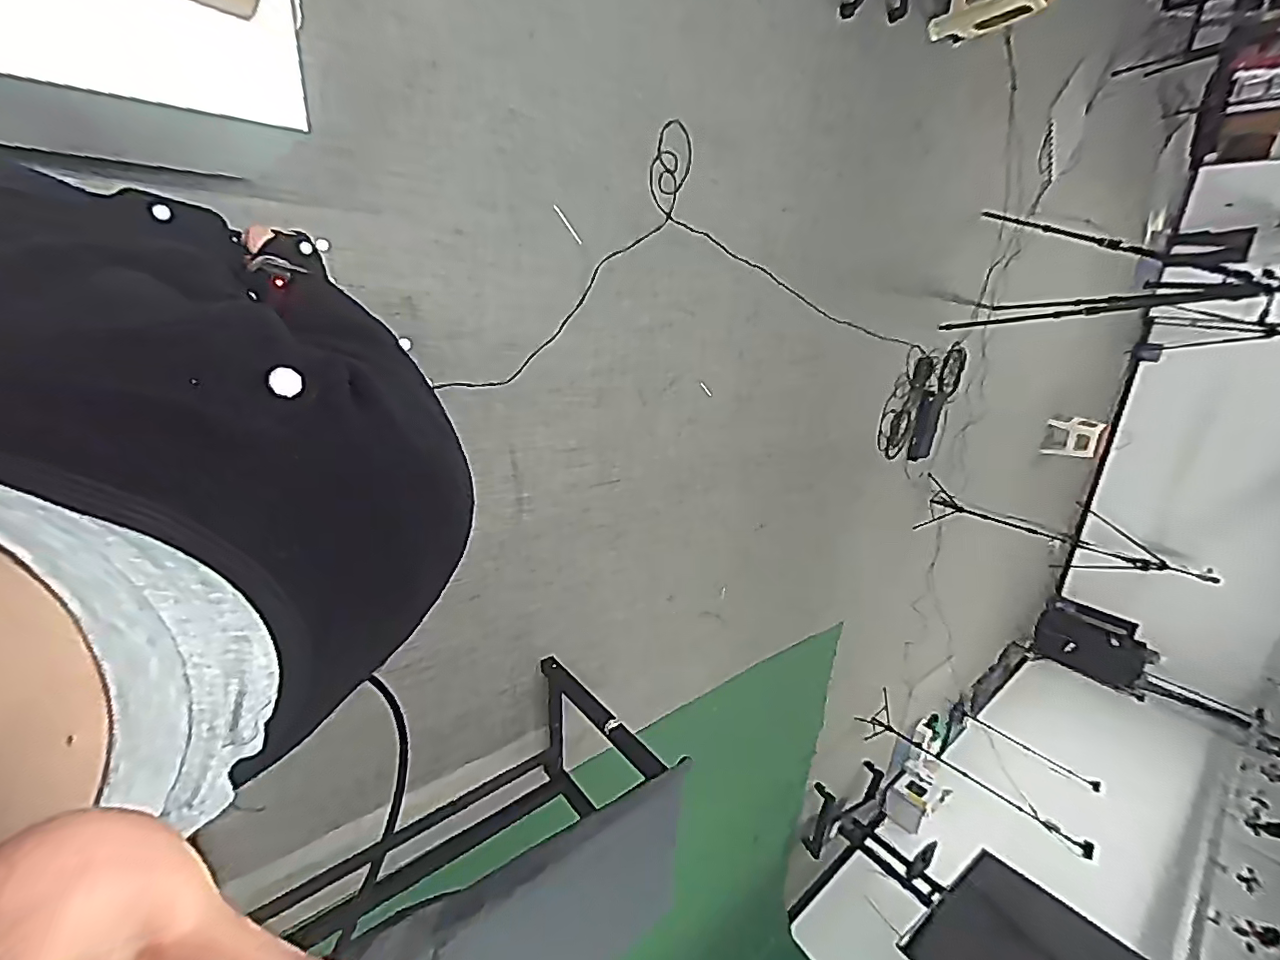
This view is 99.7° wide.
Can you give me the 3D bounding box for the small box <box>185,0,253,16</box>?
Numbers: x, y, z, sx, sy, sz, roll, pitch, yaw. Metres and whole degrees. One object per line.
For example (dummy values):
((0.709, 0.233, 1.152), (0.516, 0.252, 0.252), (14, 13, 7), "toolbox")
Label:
((-0.505, -0.627, 0.556), (0.179, 0.176, 0.168), (-8, 113, -40), "small box")
